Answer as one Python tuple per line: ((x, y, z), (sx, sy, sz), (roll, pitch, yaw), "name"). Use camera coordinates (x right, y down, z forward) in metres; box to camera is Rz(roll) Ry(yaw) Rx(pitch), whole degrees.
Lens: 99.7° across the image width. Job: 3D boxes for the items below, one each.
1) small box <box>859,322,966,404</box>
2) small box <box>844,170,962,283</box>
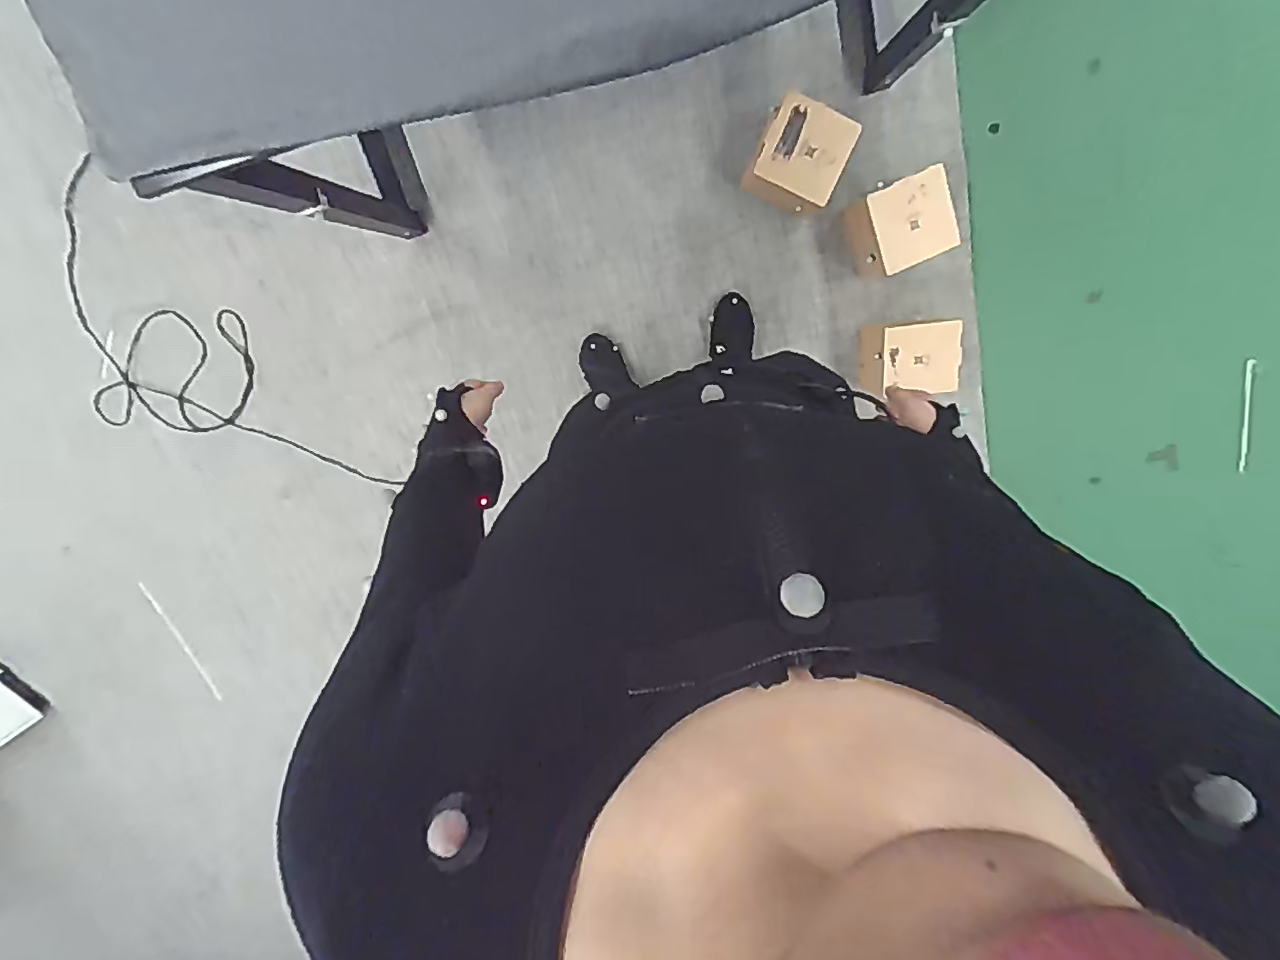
((0.654, -0.289, 1.315), (0.179, 0.176, 0.168), (-5, 109, 4), "small box")
((0.589, -0.564, 1.226), (0.168, 0.176, 0.179), (-22, 106, 8), "small box")
